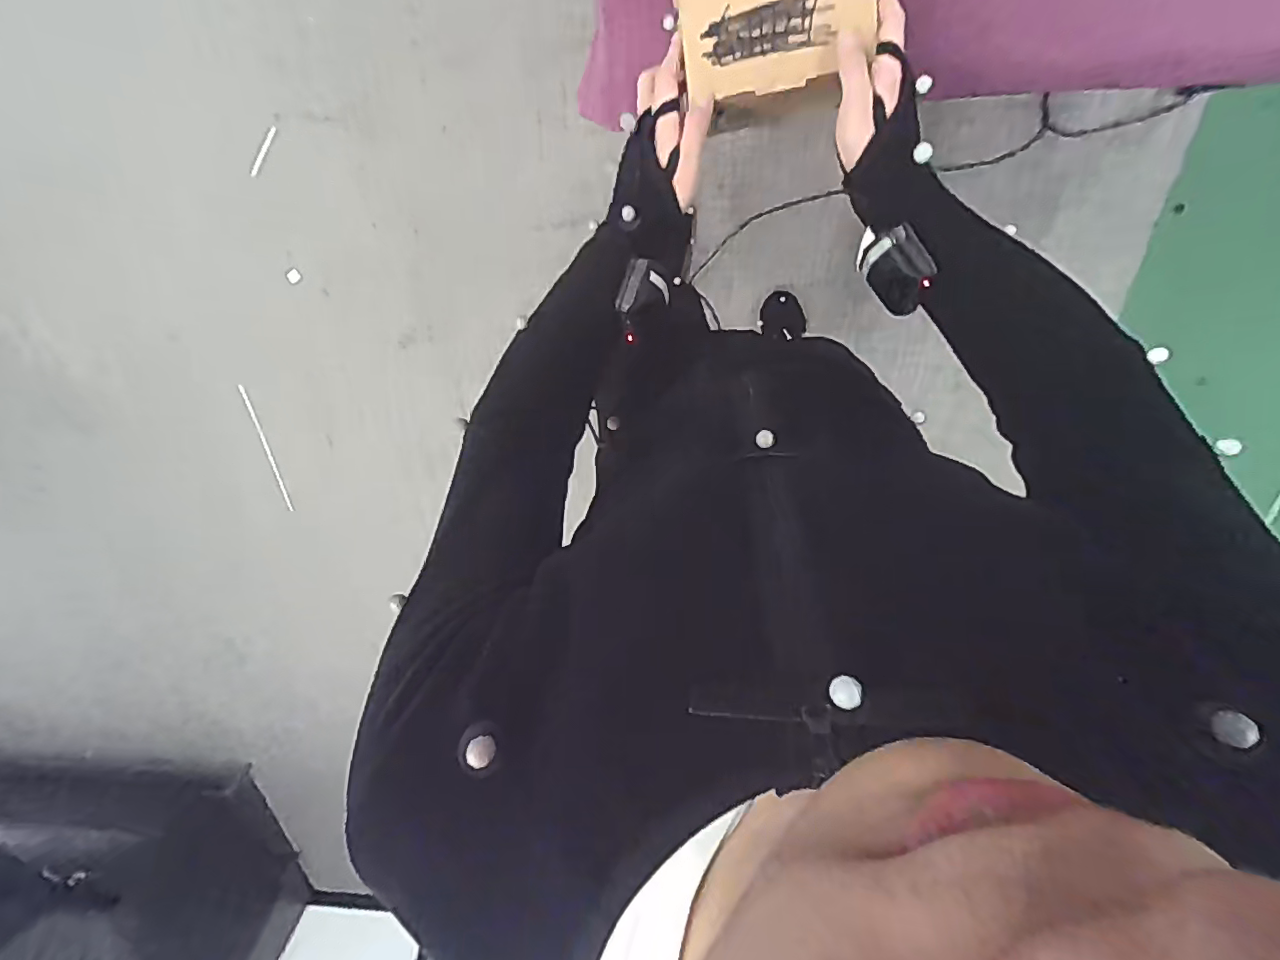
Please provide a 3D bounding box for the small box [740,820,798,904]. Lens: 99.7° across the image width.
[{"bbox_3d":[0.436,1.308,1.855,0.168,0.176,0.179,3,118,5],"label":"small box"}]
